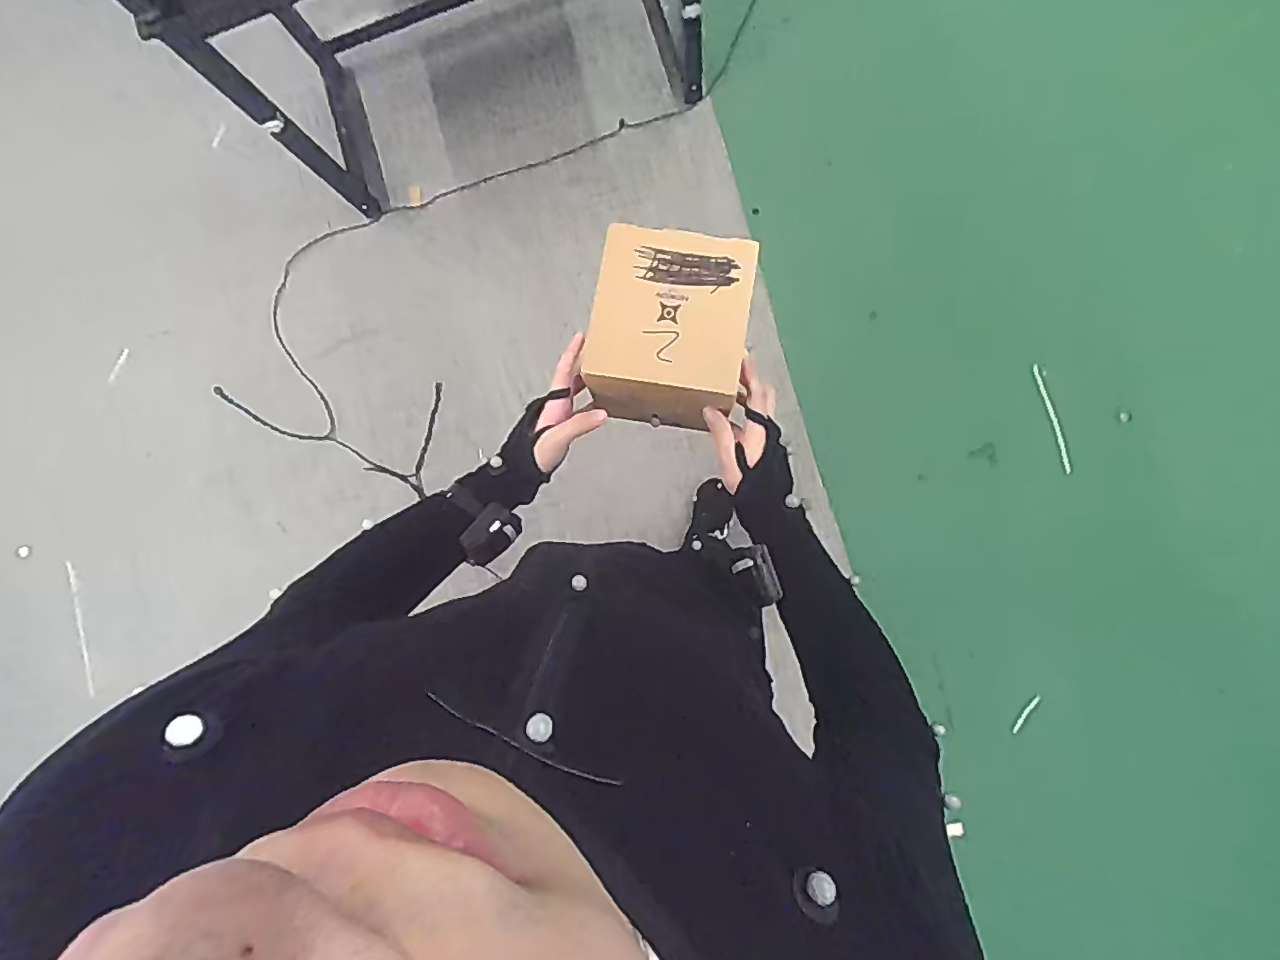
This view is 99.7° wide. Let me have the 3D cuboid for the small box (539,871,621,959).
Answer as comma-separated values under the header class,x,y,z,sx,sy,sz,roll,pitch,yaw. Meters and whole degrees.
class,x,y,z,sx,sy,sz,roll,pitch,yaw
small box,-0.158,1.206,1.473,0.168,0.176,0.179,-15,85,5
